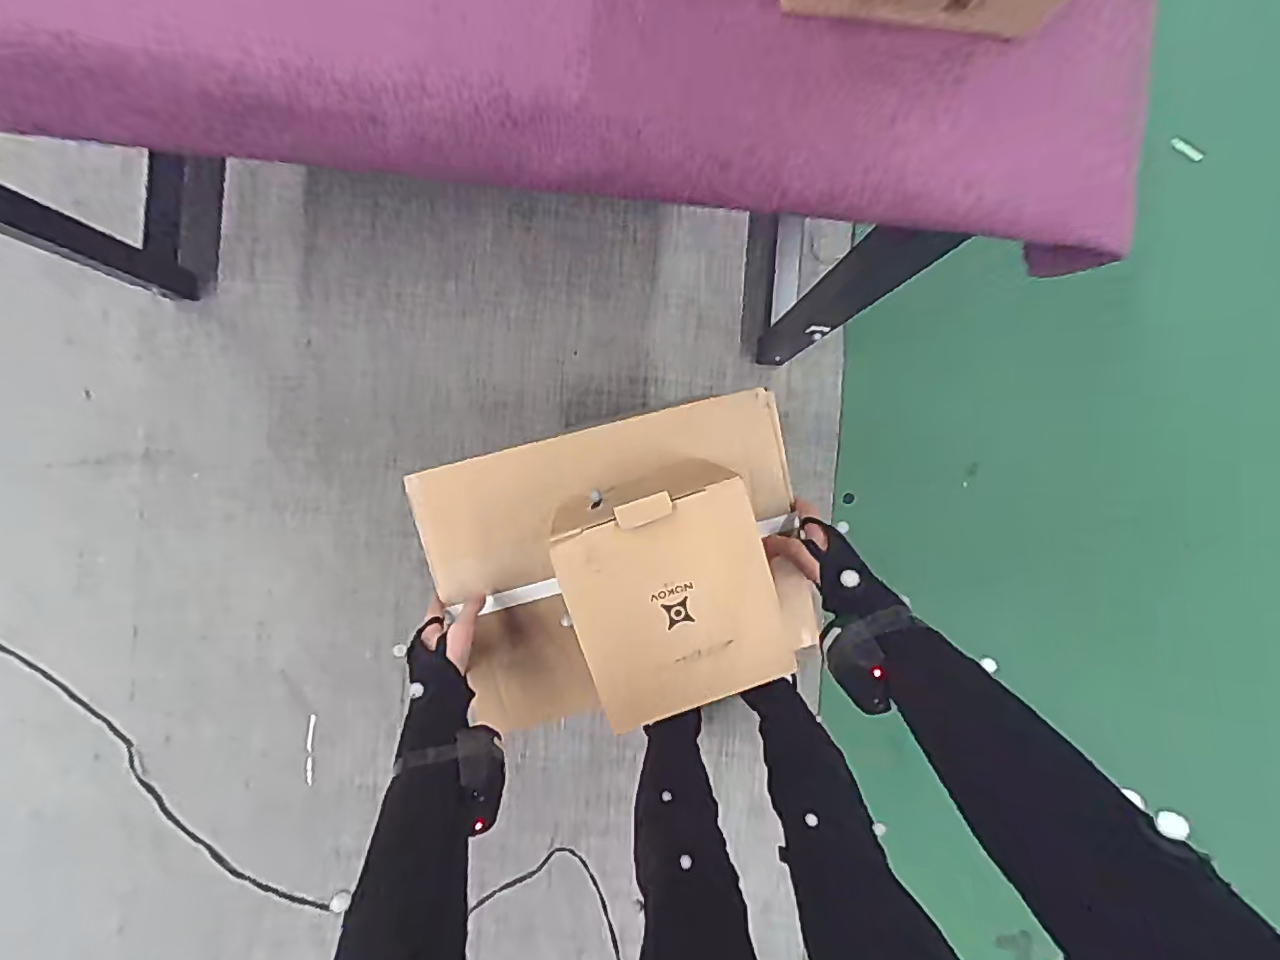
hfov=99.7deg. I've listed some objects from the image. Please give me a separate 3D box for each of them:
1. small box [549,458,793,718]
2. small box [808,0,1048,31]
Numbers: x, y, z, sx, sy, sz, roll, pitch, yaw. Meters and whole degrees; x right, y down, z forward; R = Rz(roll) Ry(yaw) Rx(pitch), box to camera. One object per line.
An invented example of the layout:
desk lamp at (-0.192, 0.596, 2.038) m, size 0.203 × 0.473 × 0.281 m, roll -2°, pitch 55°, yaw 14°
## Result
small box at (0.021, 0.083, 0.518) m, size 0.168 × 0.176 × 0.179 m, roll -18°, pitch 99°, yaw -2°
small box at (0.180, -0.381, 0.264) m, size 0.168 × 0.176 × 0.179 m, roll 5°, pitch 90°, yaw -1°
